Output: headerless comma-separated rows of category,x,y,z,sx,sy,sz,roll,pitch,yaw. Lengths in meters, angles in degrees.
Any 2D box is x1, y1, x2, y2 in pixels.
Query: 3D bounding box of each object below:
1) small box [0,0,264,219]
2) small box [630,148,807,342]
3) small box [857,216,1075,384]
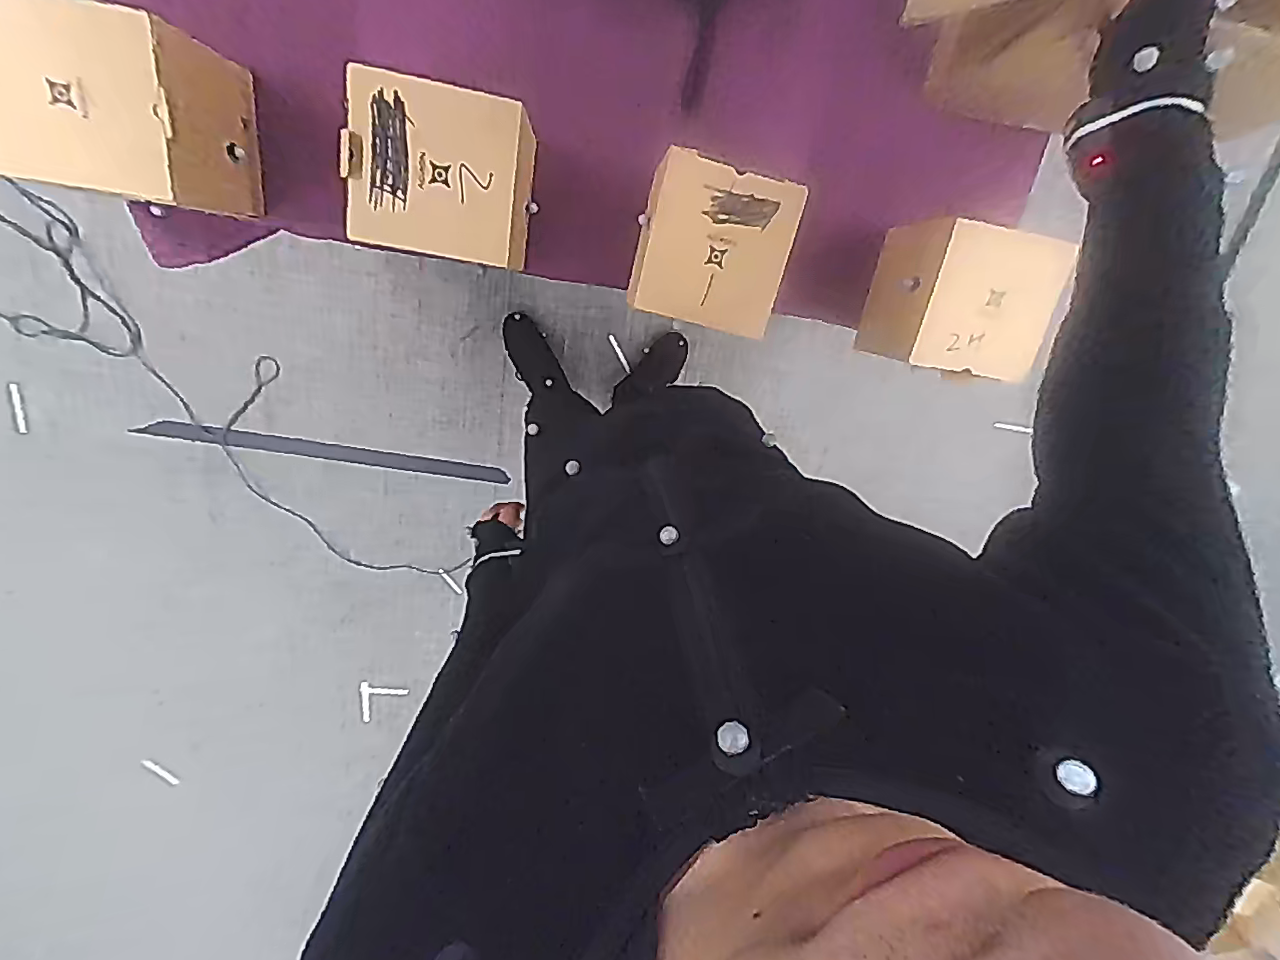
small box,-0.564,-0.398,0.604,0.179,0.176,0.168,5,110,-8
small box,0.085,-0.294,0.700,0.168,0.176,0.179,12,110,-9
small box,0.428,-0.245,0.746,0.168,0.176,0.179,9,109,-7
